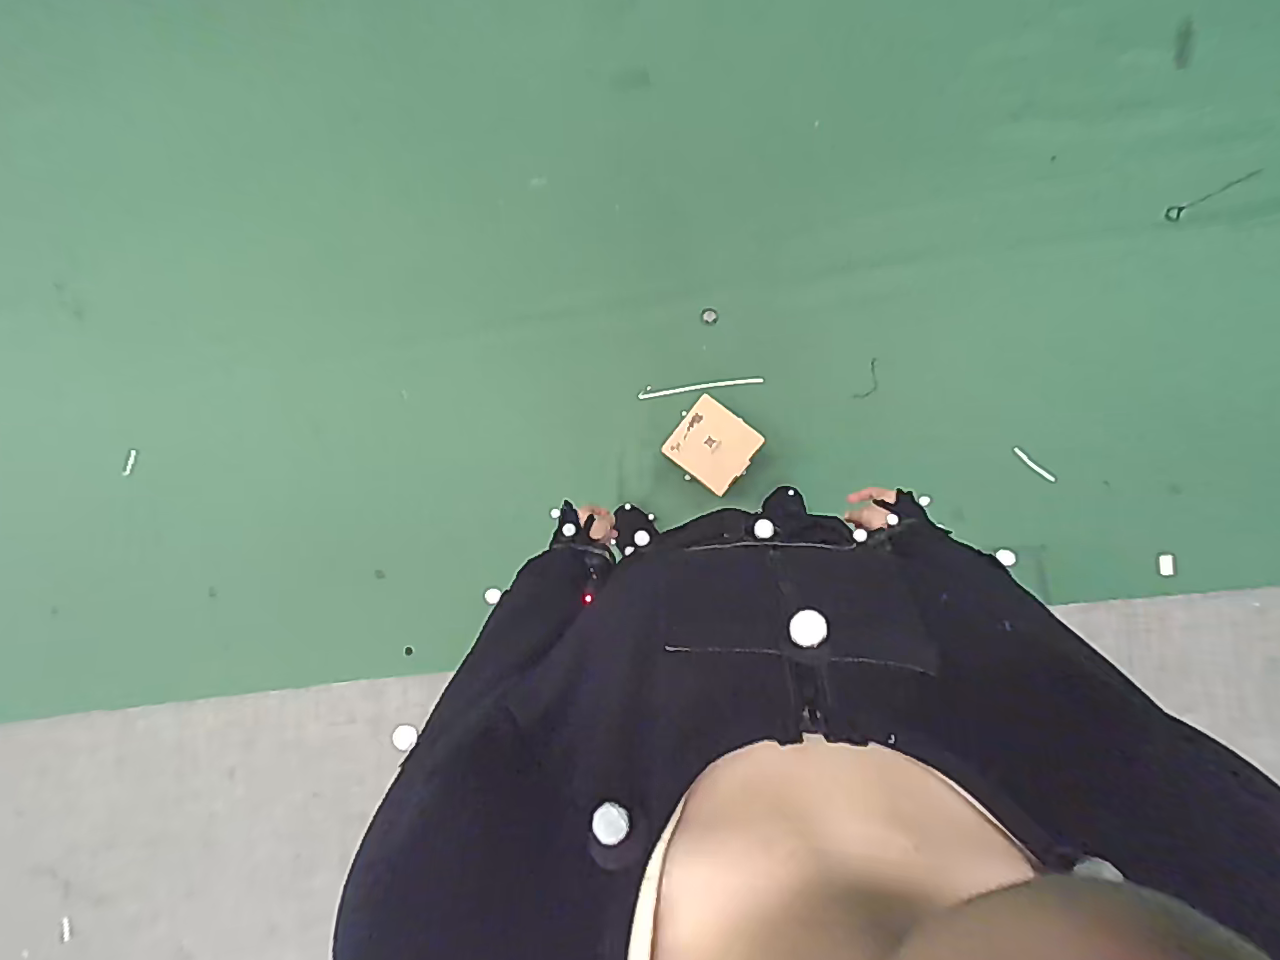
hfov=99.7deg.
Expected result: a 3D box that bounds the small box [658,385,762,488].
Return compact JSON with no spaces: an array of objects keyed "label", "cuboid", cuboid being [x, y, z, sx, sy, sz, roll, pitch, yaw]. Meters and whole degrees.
[{"label":"small box","cuboid":[0.162,-0.101,1.281,0.179,0.176,0.168,39,93,3]}]
